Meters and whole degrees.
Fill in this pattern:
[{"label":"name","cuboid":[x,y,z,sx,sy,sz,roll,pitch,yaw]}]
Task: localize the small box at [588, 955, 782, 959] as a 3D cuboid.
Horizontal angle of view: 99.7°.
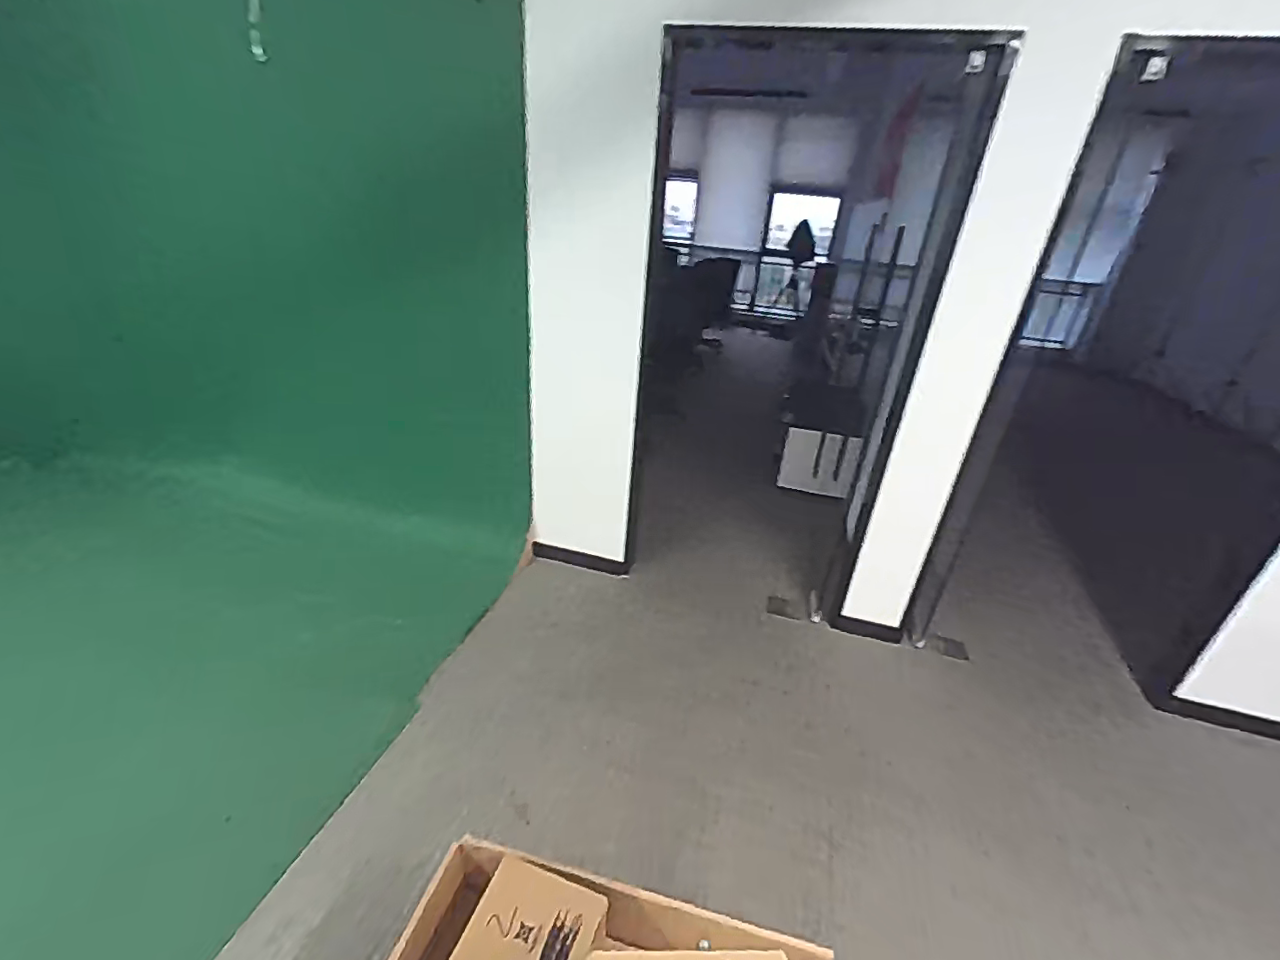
[{"label":"small box","cuboid":[0.033,0.499,0.411,0.168,0.176,0.179,3,35,-5]}]
